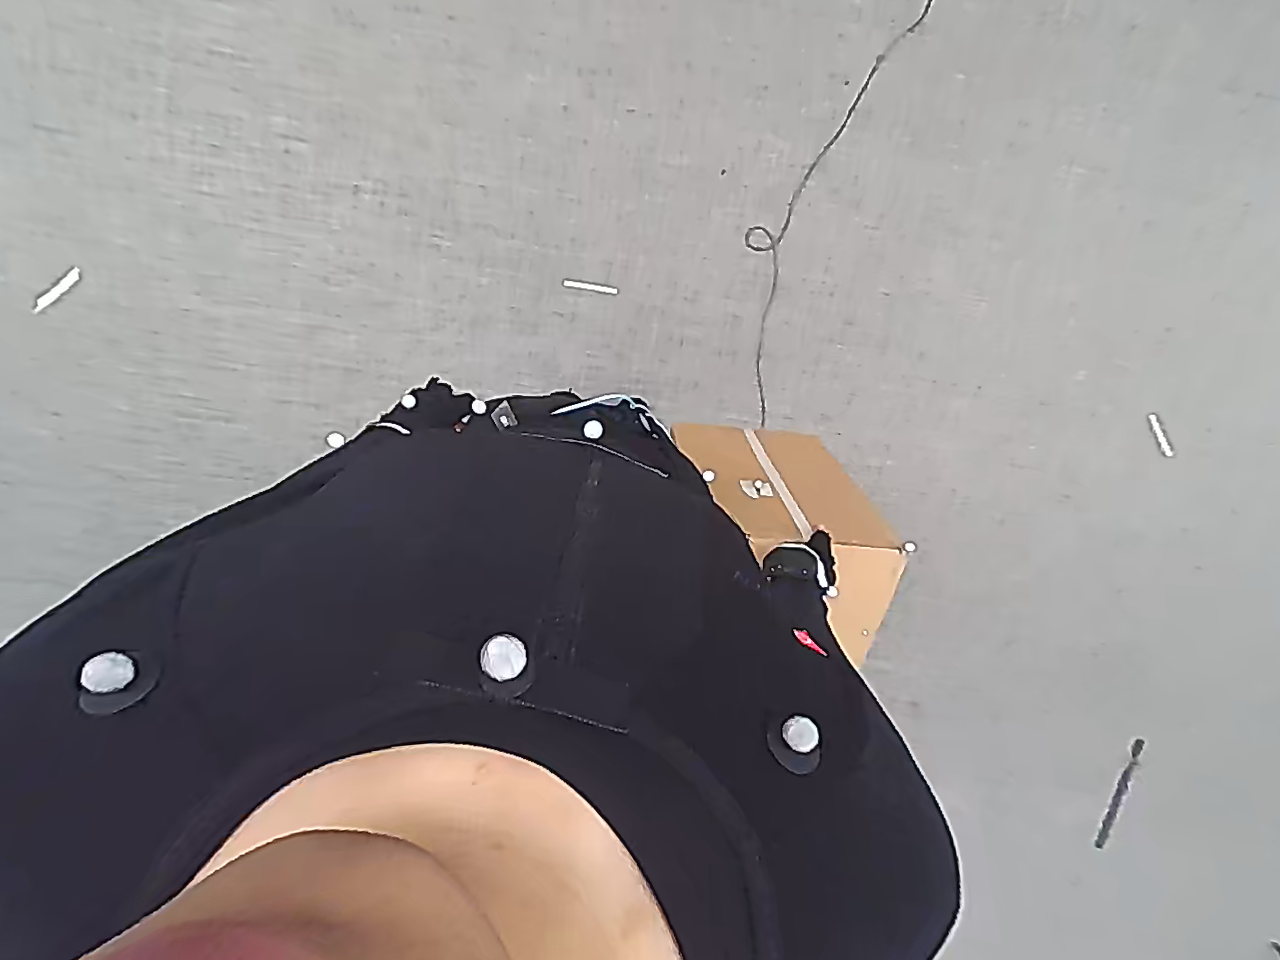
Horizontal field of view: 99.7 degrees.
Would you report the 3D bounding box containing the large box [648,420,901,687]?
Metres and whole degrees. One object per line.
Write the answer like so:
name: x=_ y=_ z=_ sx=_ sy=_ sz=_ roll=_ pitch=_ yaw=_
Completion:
large box: x=0.202 y=0.120 z=1.020 sx=0.320 sy=0.408 sz=0.320 roll=4 pitch=120 yaw=-6
